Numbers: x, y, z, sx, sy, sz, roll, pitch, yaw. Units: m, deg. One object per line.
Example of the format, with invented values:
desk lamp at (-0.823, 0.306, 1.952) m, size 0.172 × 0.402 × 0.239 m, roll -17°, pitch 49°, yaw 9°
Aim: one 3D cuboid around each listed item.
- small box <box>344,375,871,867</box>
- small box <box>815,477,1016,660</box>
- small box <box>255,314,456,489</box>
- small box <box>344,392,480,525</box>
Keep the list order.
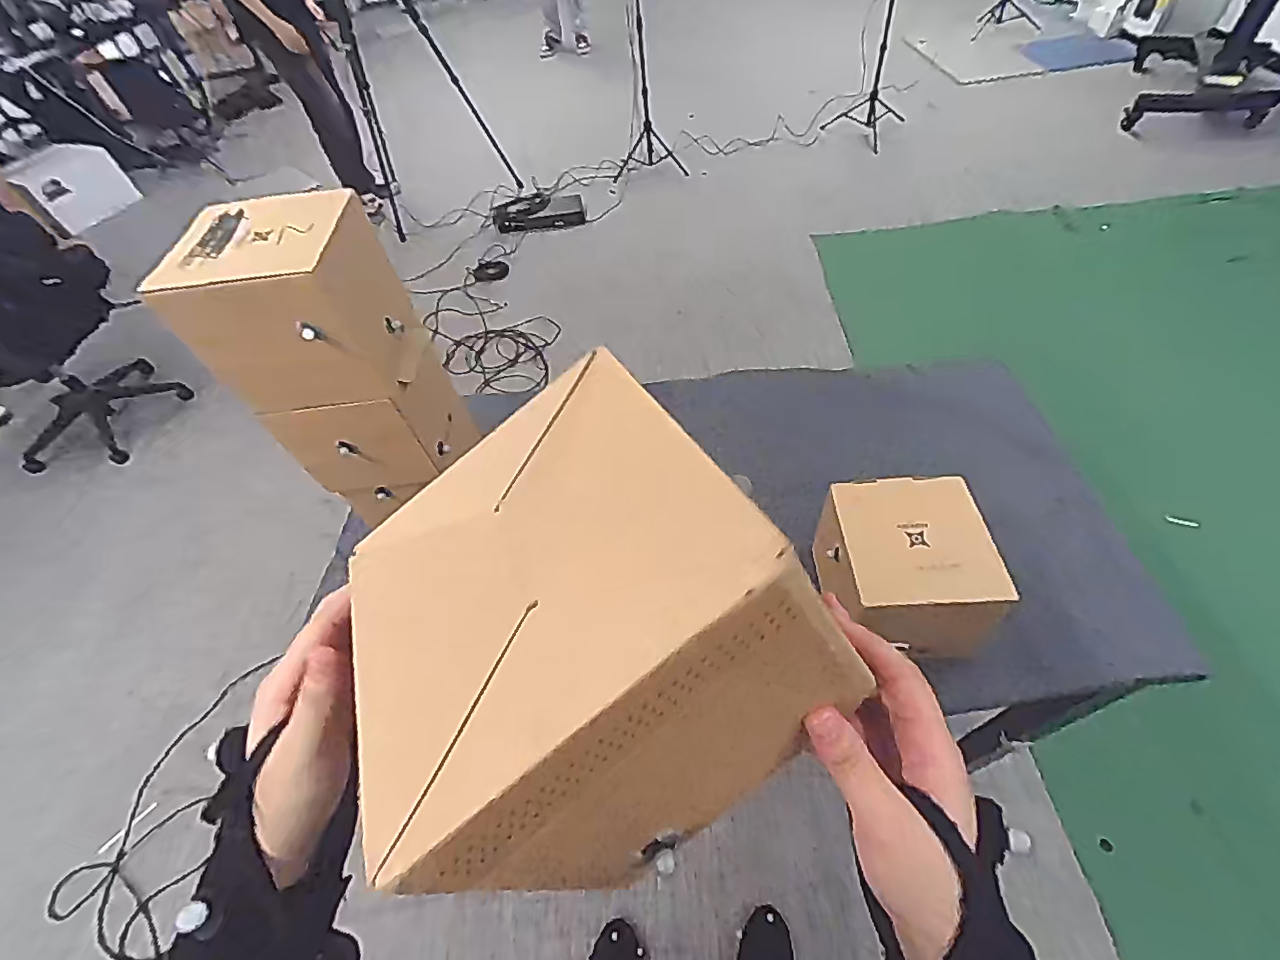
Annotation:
small box at (-0.017, 0.070, 0.281) m, size 0.179 × 0.176 × 0.168 m, roll -39°, pitch 46°, yaw 5°
small box at (0.332, 0.117, 0.699) m, size 0.168 × 0.176 × 0.179 m, roll -4°, pitch 51°, yaw 6°
small box at (-0.377, -0.104, 0.758) m, size 0.179 × 0.176 × 0.168 m, roll -7°, pitch 54°, yaw 3°
small box at (-0.361, -0.019, 0.899) m, size 0.168 × 0.176 × 0.179 m, roll -7°, pitch 53°, yaw 2°
